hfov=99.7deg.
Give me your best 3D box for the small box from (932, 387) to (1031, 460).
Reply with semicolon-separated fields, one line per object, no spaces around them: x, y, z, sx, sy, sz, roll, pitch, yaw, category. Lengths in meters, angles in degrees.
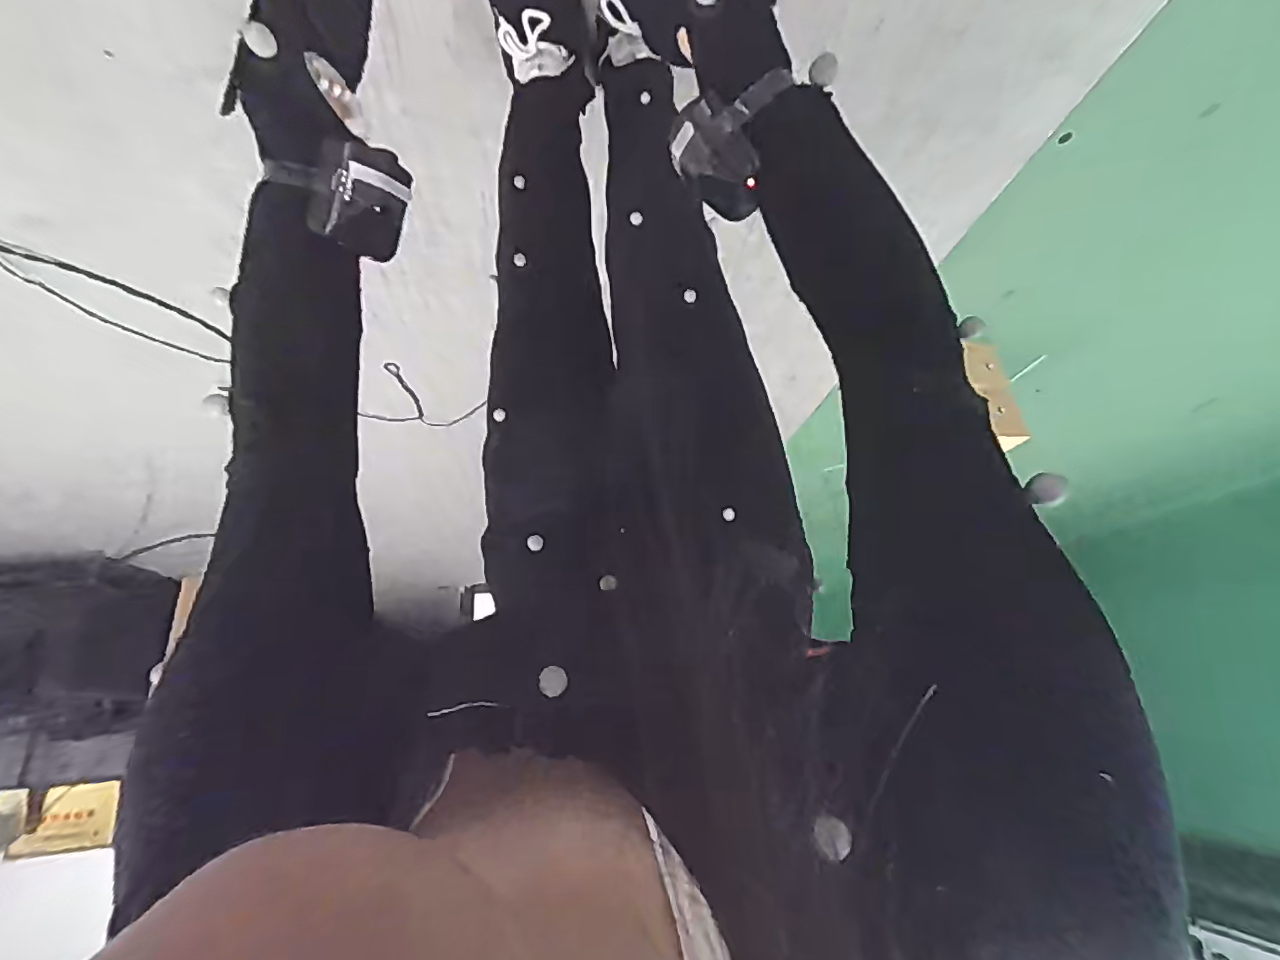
1.030;-0.171;1.648;0.168;0.176;0.179;0;158;-13;small box
